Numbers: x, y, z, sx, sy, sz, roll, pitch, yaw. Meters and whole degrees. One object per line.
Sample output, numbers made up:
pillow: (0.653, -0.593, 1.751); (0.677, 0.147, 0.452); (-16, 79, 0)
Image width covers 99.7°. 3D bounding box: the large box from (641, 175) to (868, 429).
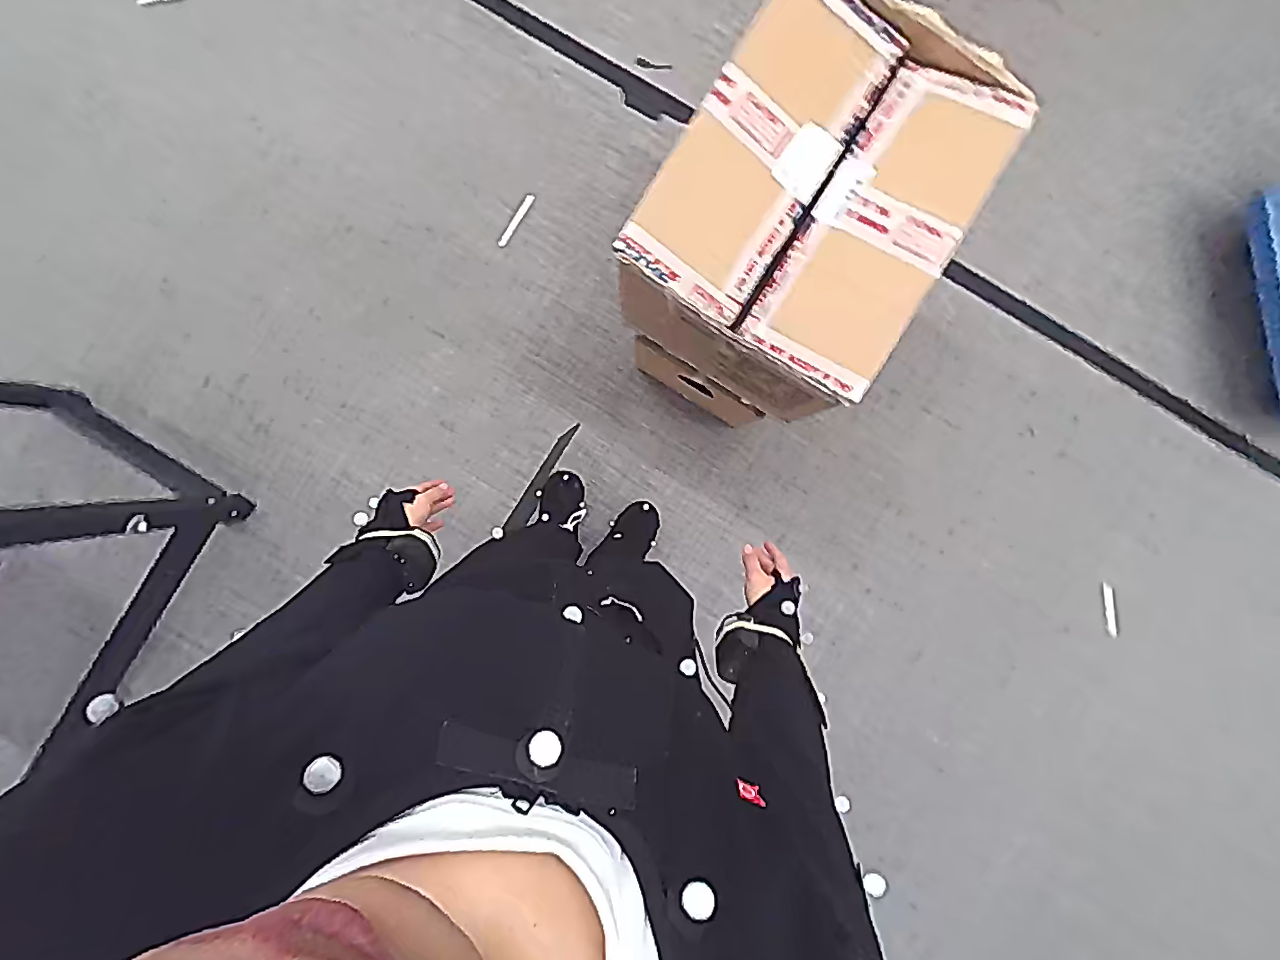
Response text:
large box: (0.231, -0.369, 1.230); (0.320, 0.320, 0.408); (31, 92, 1)
